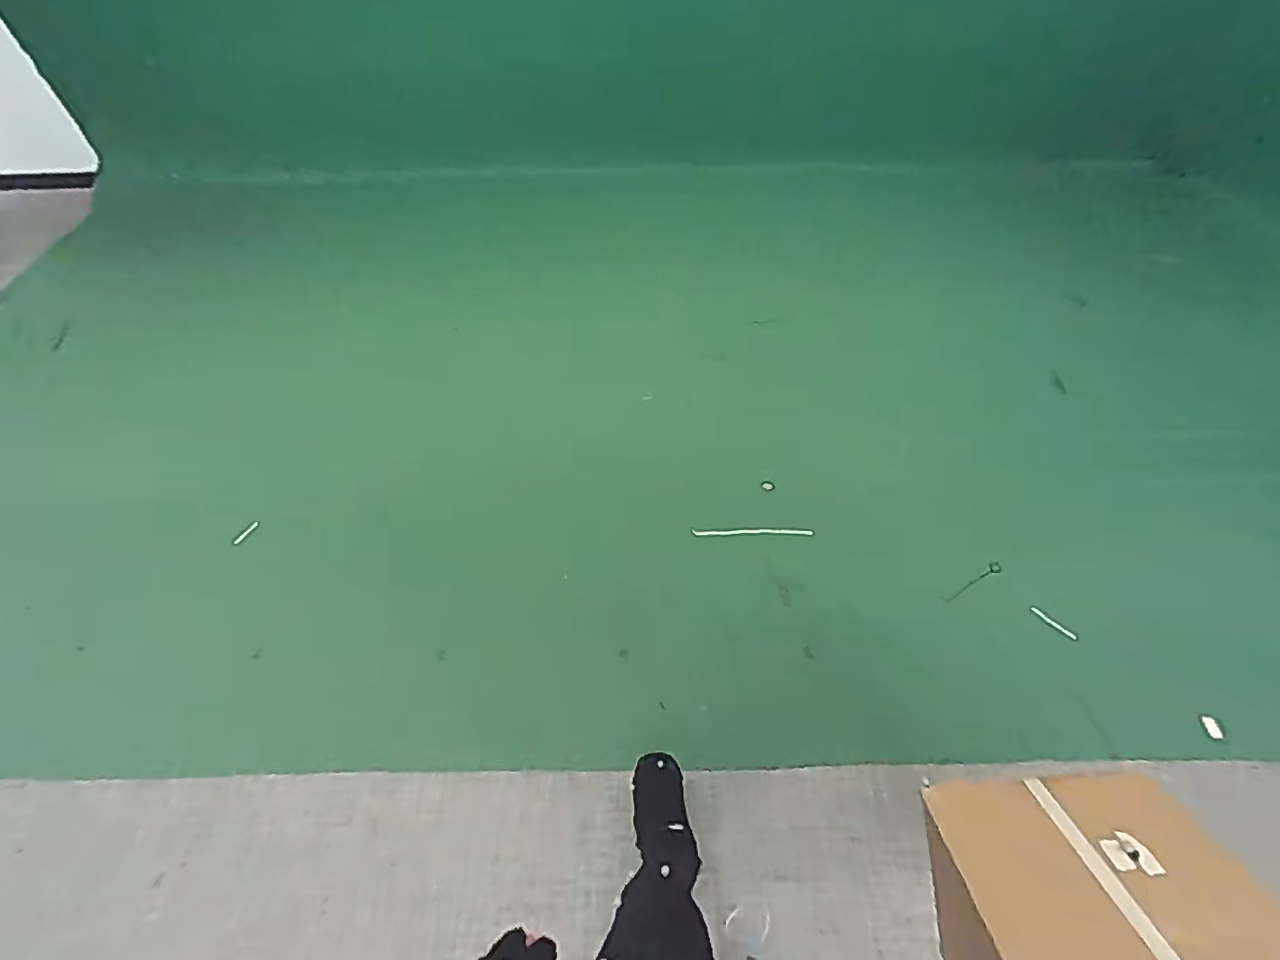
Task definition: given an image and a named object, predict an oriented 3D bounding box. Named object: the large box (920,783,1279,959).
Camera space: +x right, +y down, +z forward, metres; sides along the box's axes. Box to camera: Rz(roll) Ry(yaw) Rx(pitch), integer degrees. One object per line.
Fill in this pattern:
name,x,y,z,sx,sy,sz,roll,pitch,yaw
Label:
large box,0.592,0.656,0.652,0.320,0.320,0.408,-9,9,9
